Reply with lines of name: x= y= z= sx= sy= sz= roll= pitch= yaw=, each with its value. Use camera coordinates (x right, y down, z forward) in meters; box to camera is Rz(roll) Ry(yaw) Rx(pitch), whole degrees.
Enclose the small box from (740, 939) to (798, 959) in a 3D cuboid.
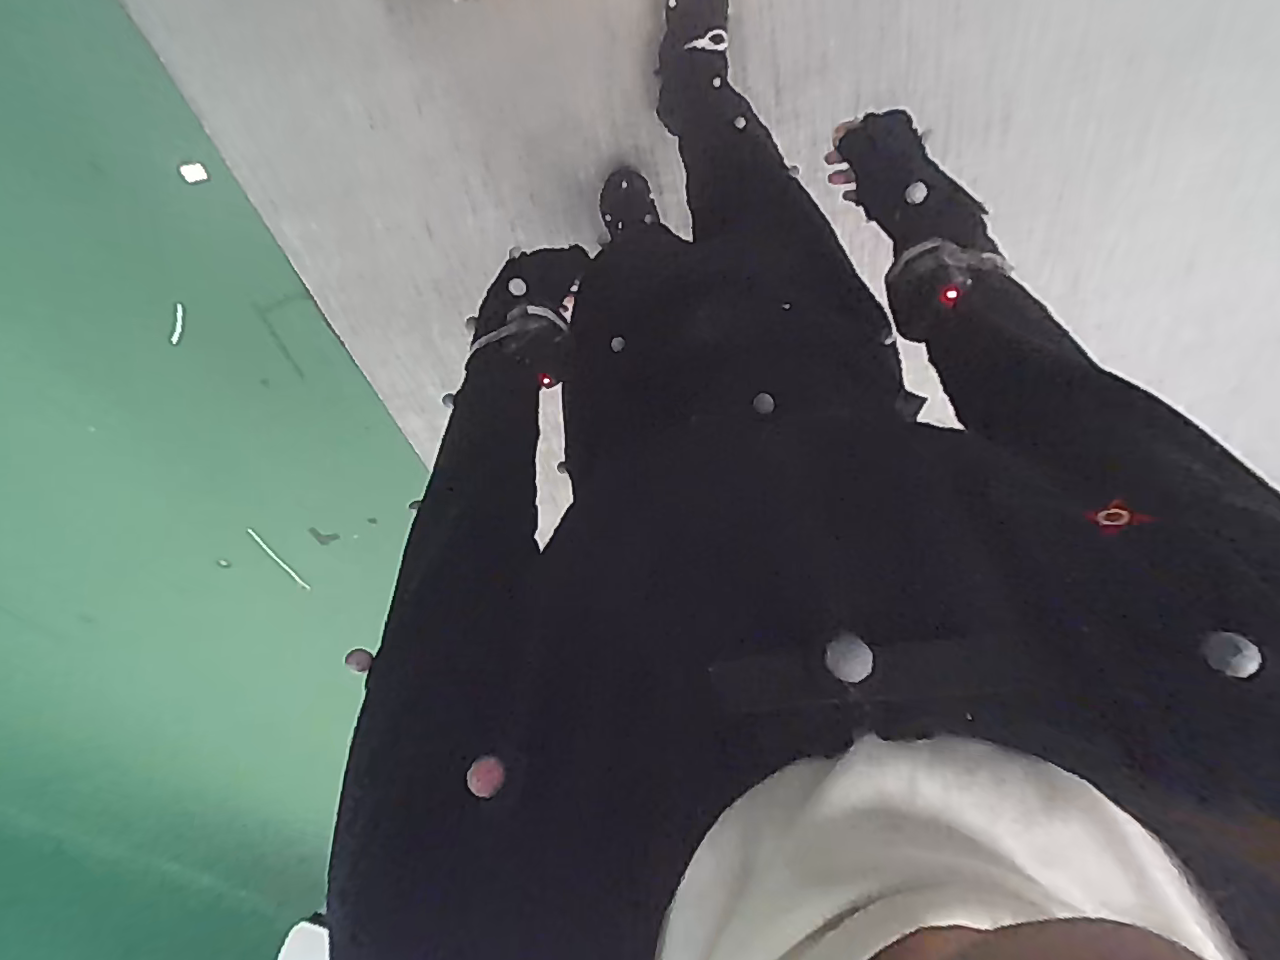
small box: x=0.429 y=1.616 z=1.753 sx=0.179 sy=0.176 sz=0.168 roll=-14 pitch=129 yaw=11
